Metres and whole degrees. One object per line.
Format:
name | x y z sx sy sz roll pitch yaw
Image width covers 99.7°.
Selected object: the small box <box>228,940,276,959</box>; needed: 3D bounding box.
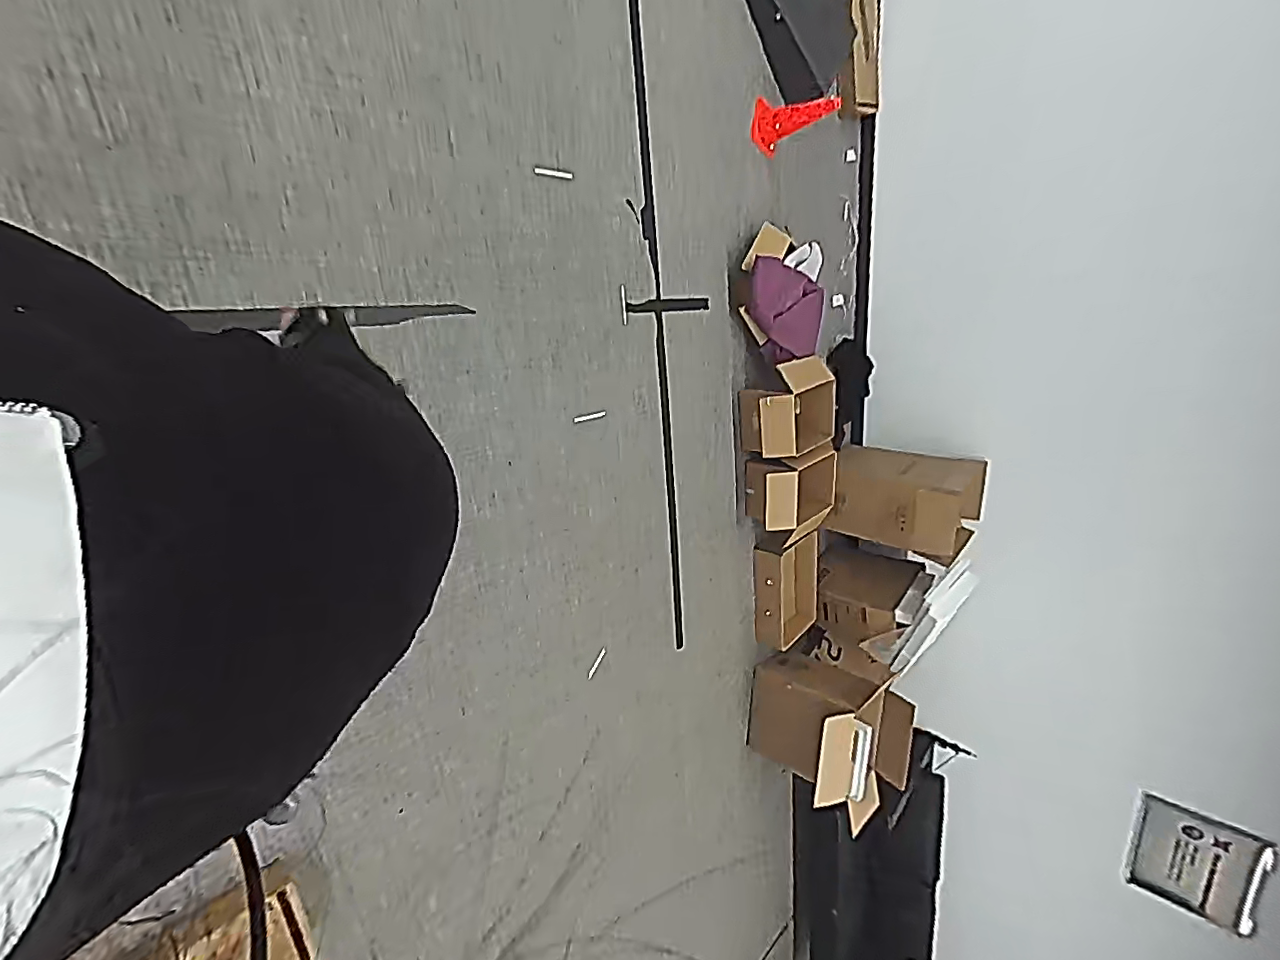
small box | -0.925 1.232 1.255 0.168 0.176 0.179 -19 111 -43
